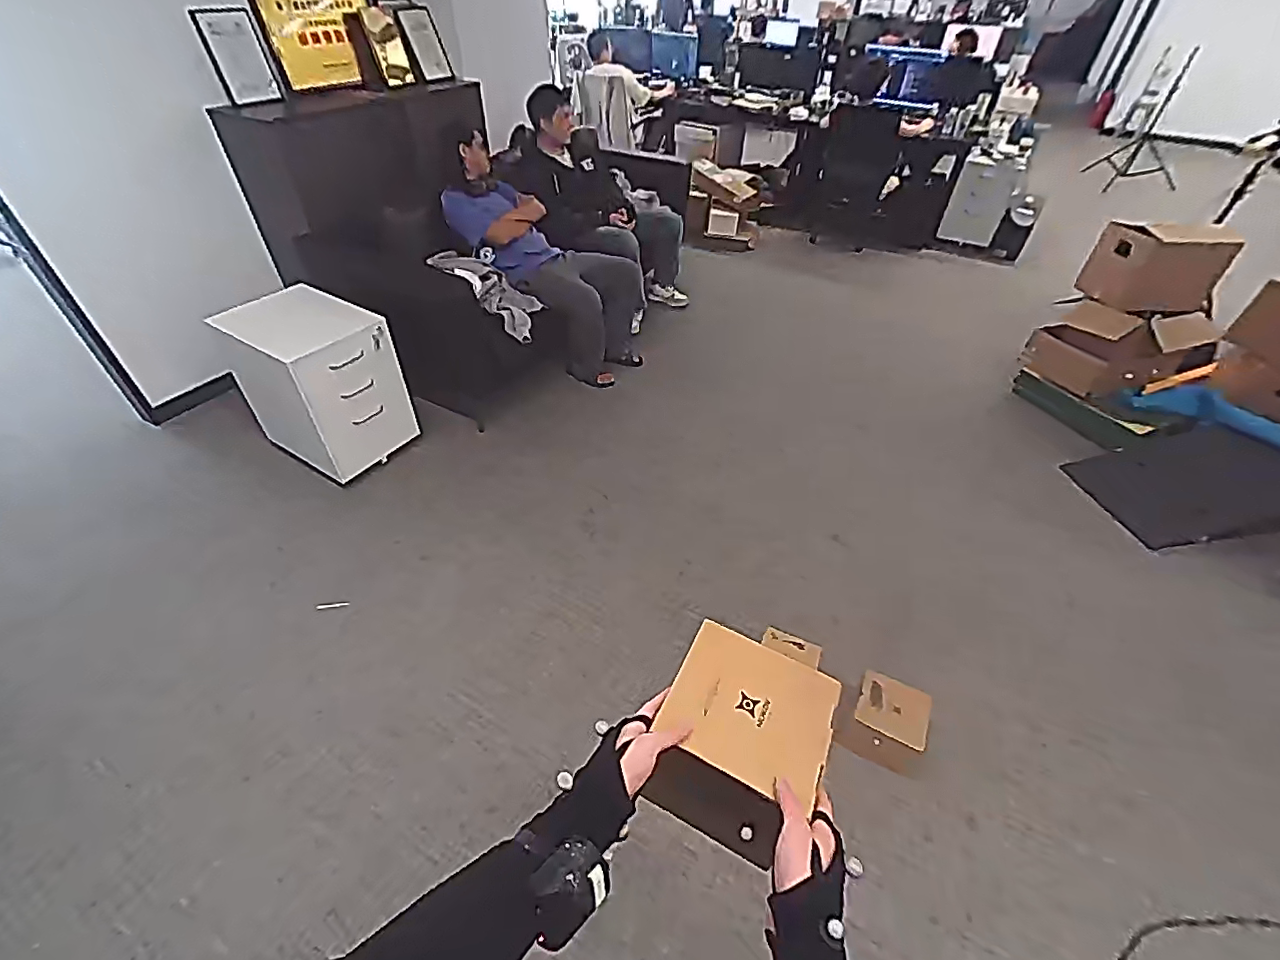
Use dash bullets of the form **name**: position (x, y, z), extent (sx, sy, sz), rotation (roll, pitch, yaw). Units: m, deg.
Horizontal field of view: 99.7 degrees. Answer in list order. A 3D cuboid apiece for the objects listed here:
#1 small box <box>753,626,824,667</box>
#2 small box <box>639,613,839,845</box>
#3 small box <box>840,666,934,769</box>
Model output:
- **small box**: position (0.424, 0.552, 1.588), extent (0.179, 0.176, 0.168), rotation (-3, 41, -3)
- **small box**: position (0.114, 0.303, 0.656), extent (0.179, 0.176, 0.168), rotation (22, 41, 18)
- **small box**: position (0.672, 0.657, 1.488), extent (0.179, 0.176, 0.168), rotation (25, 50, 24)
